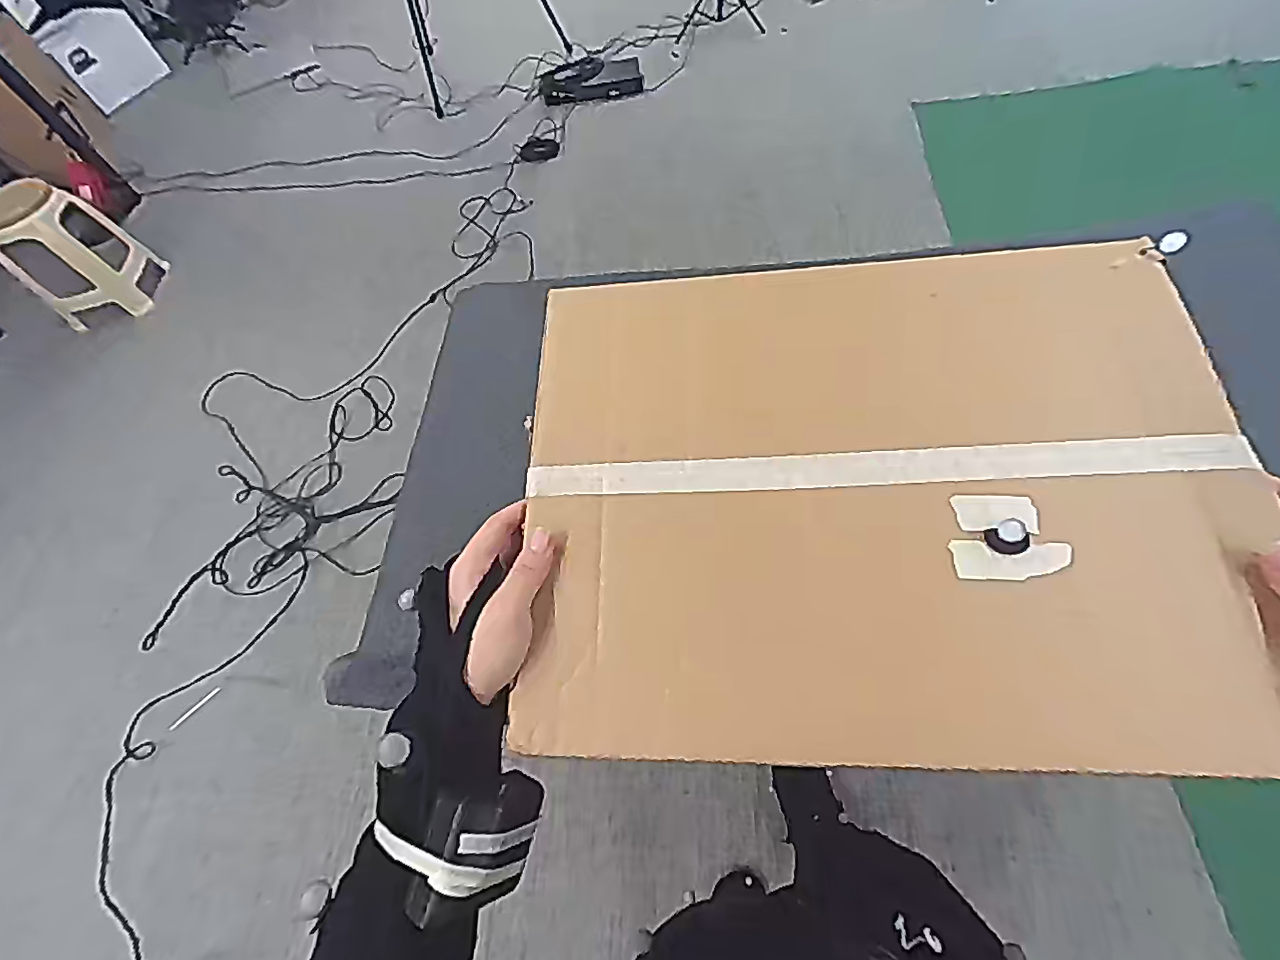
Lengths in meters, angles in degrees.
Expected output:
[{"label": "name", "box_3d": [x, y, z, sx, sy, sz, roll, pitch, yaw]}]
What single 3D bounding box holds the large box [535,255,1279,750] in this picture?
[{"label": "large box", "box_3d": [0.152, 0.052, 0.470, 0.408, 0.320, 0.320, -2, 67, 6]}]
